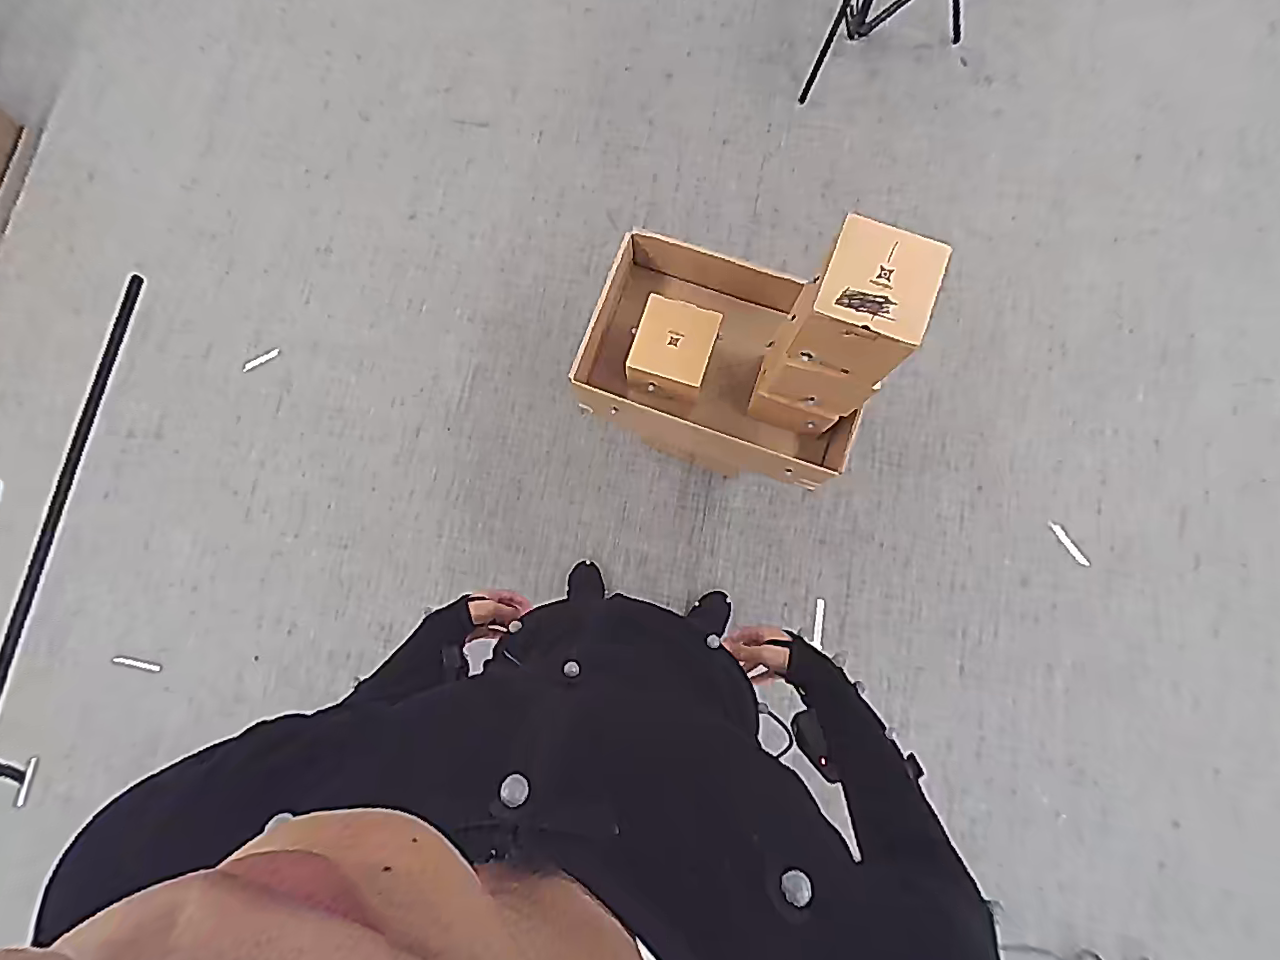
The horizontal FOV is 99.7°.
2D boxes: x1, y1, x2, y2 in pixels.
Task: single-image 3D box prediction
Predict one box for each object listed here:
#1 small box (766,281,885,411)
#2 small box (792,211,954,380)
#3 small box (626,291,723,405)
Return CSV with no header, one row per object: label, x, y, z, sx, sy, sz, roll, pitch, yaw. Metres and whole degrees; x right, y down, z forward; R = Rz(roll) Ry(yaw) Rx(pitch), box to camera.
small box,0.360,-0.245,1.033,0.179,0.176,0.168,17,82,3
small box,0.360,-0.285,0.872,0.168,0.176,0.179,21,82,5
small box,0.076,-0.287,1.216,0.168,0.176,0.179,18,81,4
